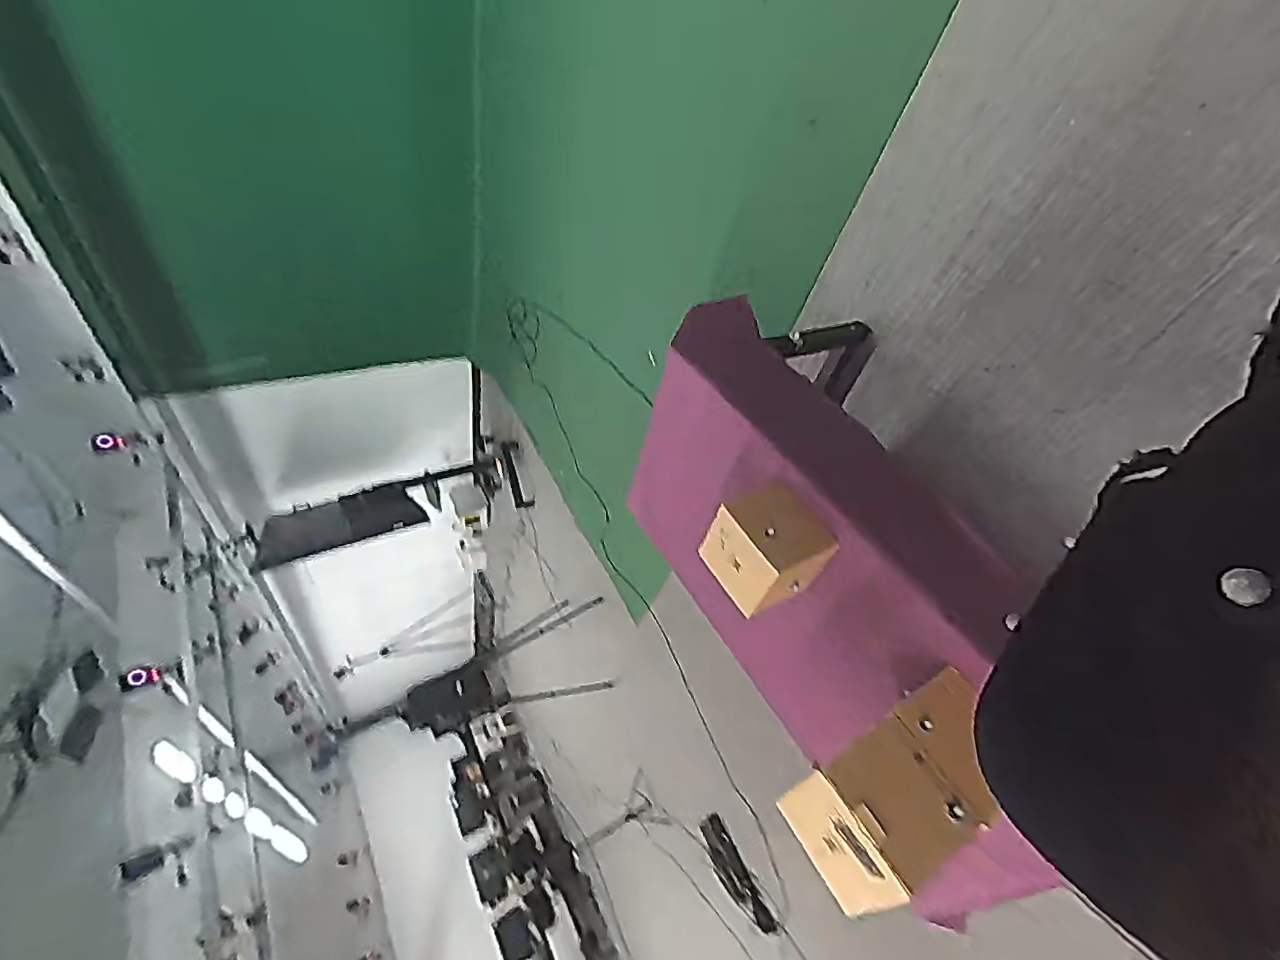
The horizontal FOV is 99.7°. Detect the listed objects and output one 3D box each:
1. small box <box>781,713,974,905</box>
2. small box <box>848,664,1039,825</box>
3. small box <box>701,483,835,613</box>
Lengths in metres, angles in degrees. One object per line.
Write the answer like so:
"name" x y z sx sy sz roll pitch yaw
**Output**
"small box" 0.348 0.478 0.798 0.168 0.176 0.179 53 147 32
"small box" 0.487 0.434 0.875 0.179 0.176 0.168 53 146 32
"small box" 0.258 0.132 1.098 0.179 0.176 0.168 54 145 30
